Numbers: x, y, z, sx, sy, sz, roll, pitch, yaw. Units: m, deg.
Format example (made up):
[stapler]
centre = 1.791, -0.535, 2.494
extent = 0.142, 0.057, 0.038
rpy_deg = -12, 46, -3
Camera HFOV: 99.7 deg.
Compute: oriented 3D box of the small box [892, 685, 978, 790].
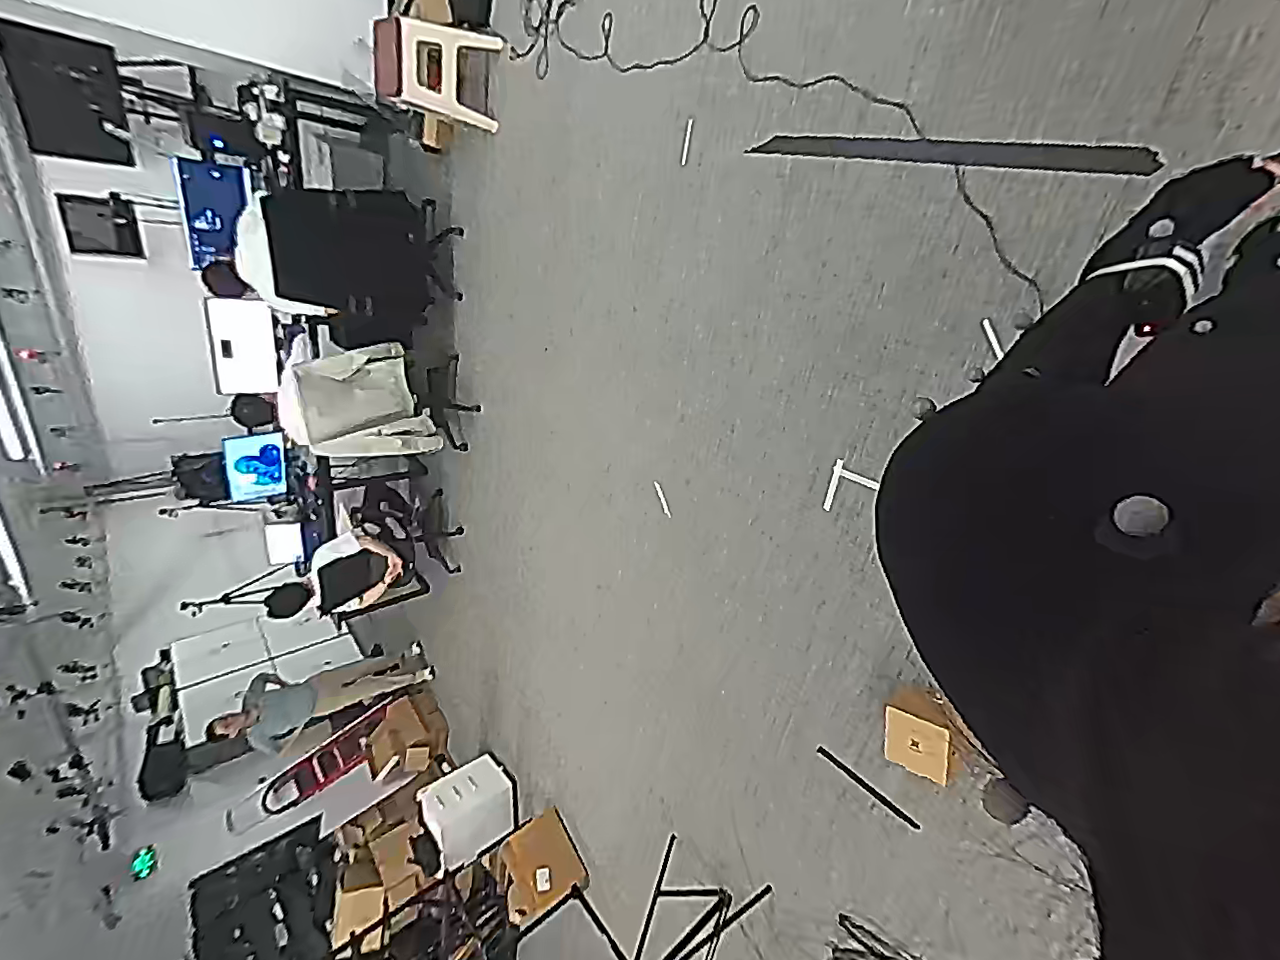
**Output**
[small box]
centre = 0.826, 0.711, 1.513
extent = 0.168, 0.176, 0.179
rpy_deg = 9, 106, 47
